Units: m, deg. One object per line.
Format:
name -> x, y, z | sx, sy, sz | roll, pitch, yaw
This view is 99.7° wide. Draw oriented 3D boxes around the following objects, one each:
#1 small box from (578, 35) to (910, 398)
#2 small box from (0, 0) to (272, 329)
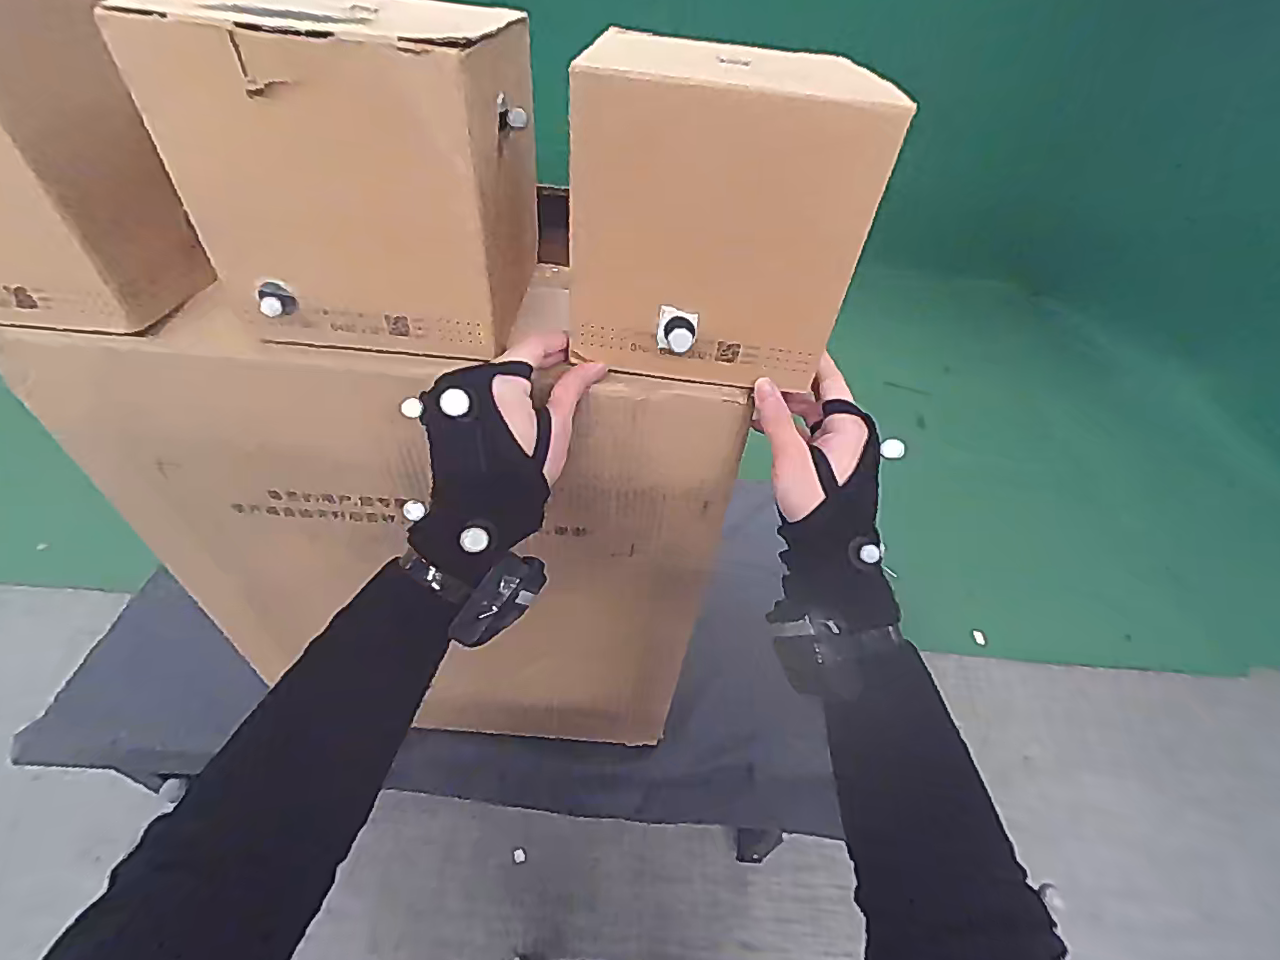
small box -> 0.048, -0.182, 0.376 | 0.168, 0.176, 0.179 | 6, 46, -1
small box -> -0.387, -0.221, 0.356 | 0.168, 0.176, 0.179 | 5, 44, 1
